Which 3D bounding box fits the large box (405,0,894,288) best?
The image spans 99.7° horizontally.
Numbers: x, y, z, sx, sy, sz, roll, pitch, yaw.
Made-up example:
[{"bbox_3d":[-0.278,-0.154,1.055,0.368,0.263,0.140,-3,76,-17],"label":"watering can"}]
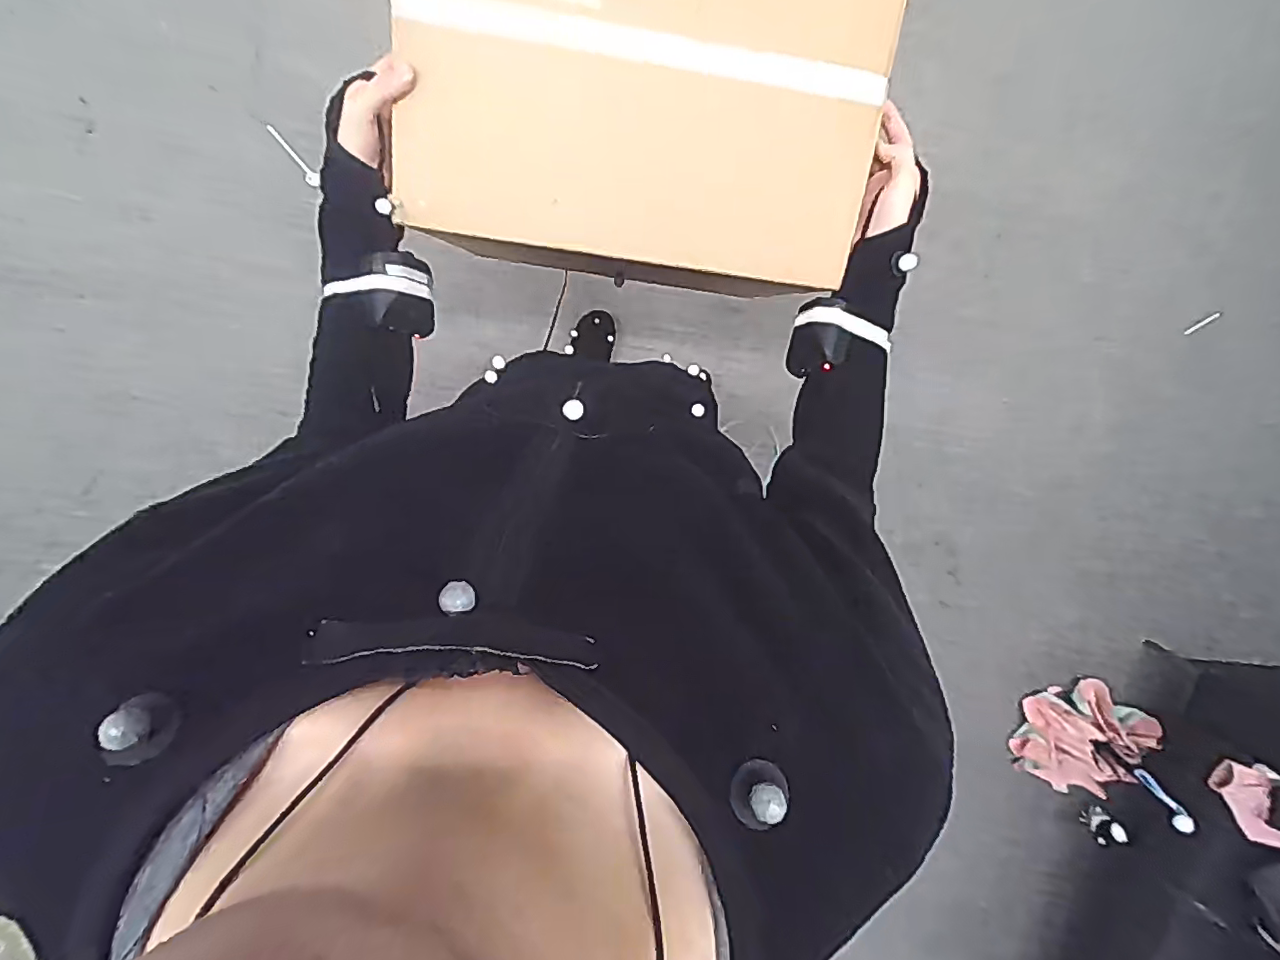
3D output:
[{"bbox_3d":[0.000,-0.396,0.595,0.408,0.320,0.320,6,106,-5],"label":"large box"}]
